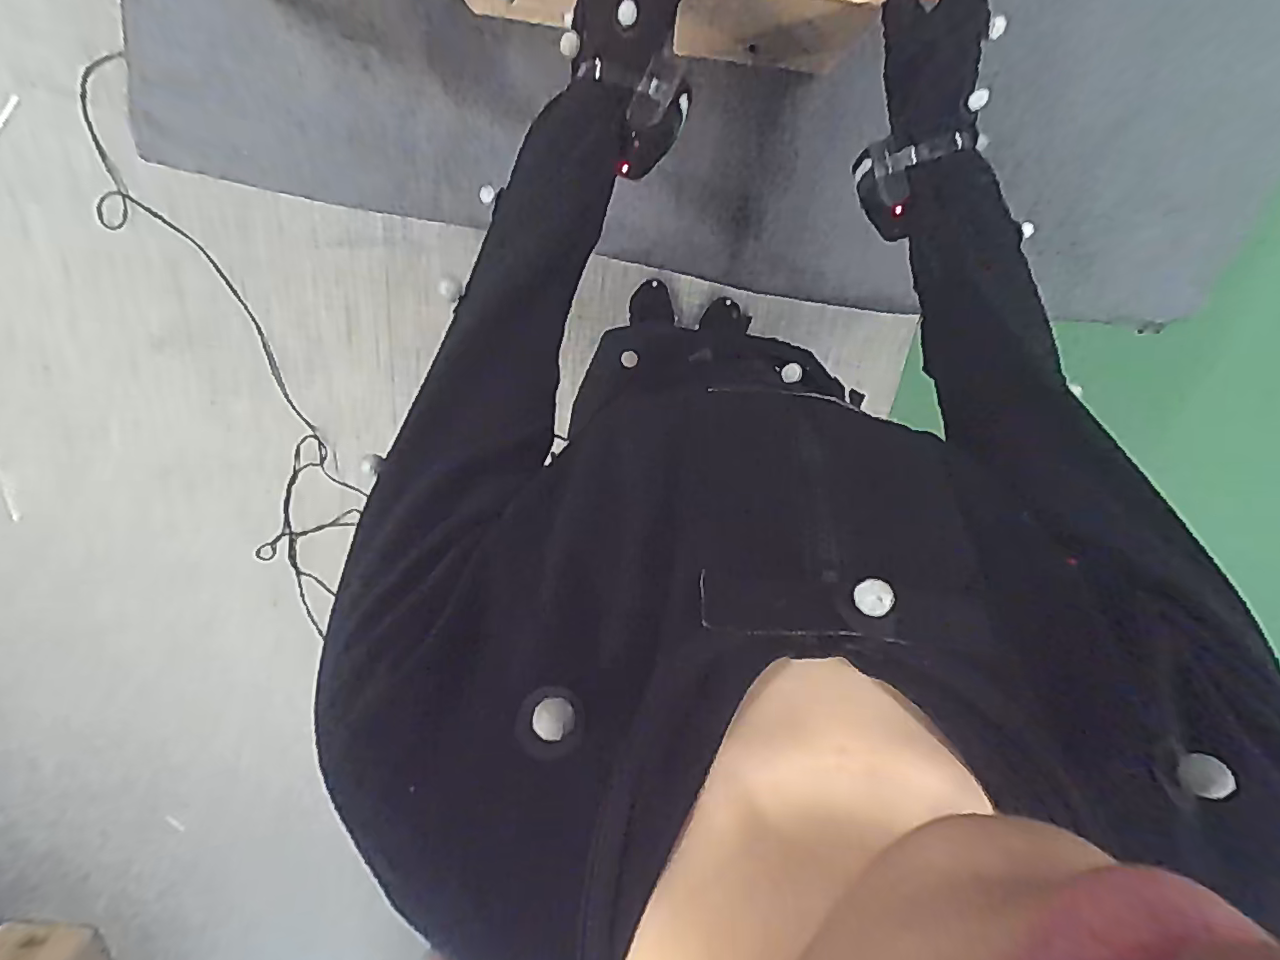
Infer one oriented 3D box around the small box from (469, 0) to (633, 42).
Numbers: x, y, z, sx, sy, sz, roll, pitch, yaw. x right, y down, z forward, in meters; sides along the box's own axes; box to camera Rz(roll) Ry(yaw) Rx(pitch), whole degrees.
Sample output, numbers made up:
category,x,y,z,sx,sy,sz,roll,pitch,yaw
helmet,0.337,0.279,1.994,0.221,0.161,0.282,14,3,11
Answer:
category,x,y,z,sx,sy,sz,roll,pitch,yaw
small box,-0.083,-0.514,0.457,0.168,0.176,0.179,9,110,-1
